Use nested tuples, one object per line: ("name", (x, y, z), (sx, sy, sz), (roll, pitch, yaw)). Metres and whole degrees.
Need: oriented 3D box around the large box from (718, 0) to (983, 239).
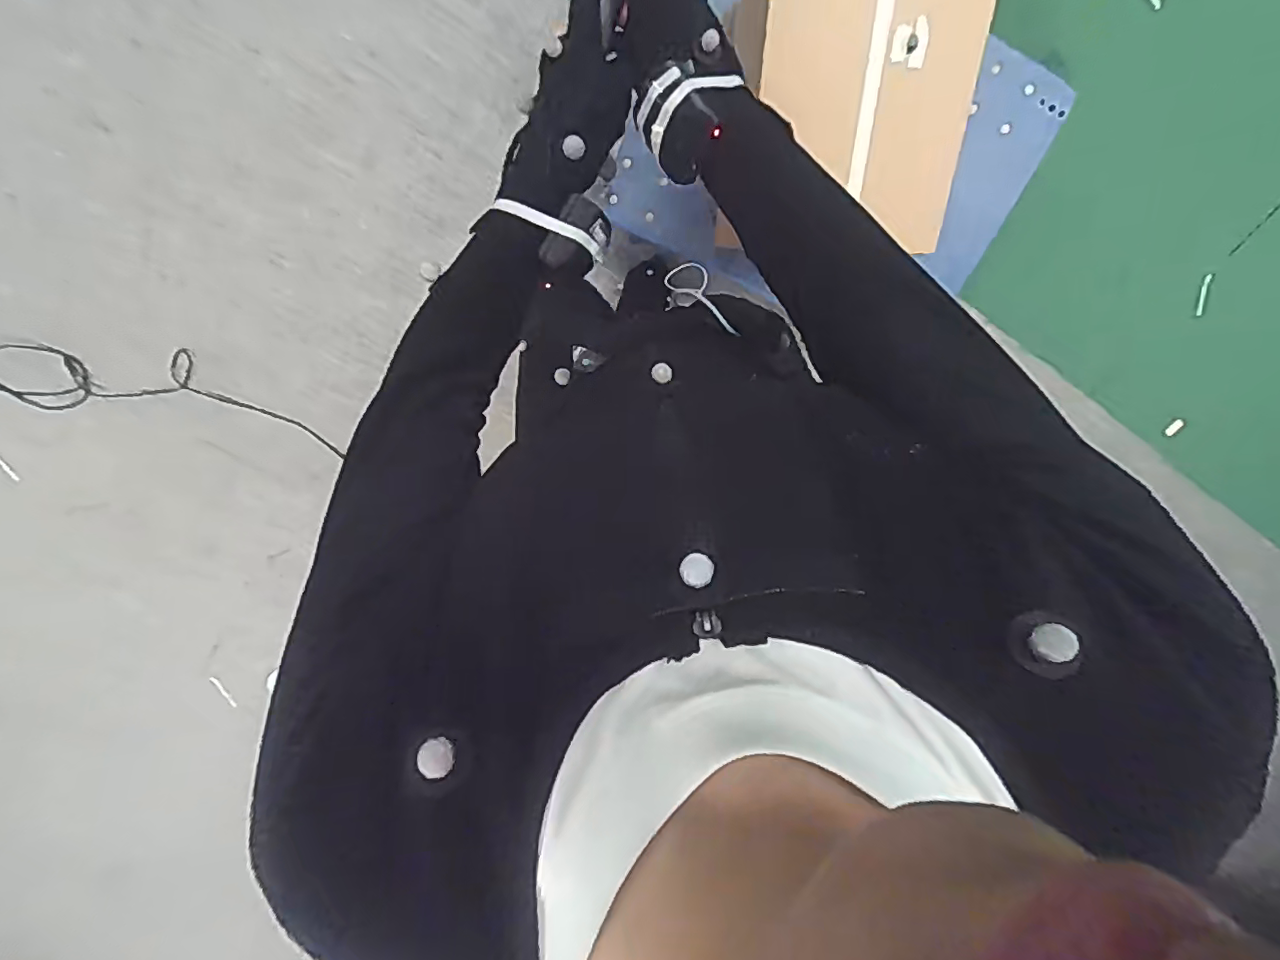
("large box", (0.315, -0.631, 0.916), (0.320, 0.320, 0.408), (1, 114, -2))
